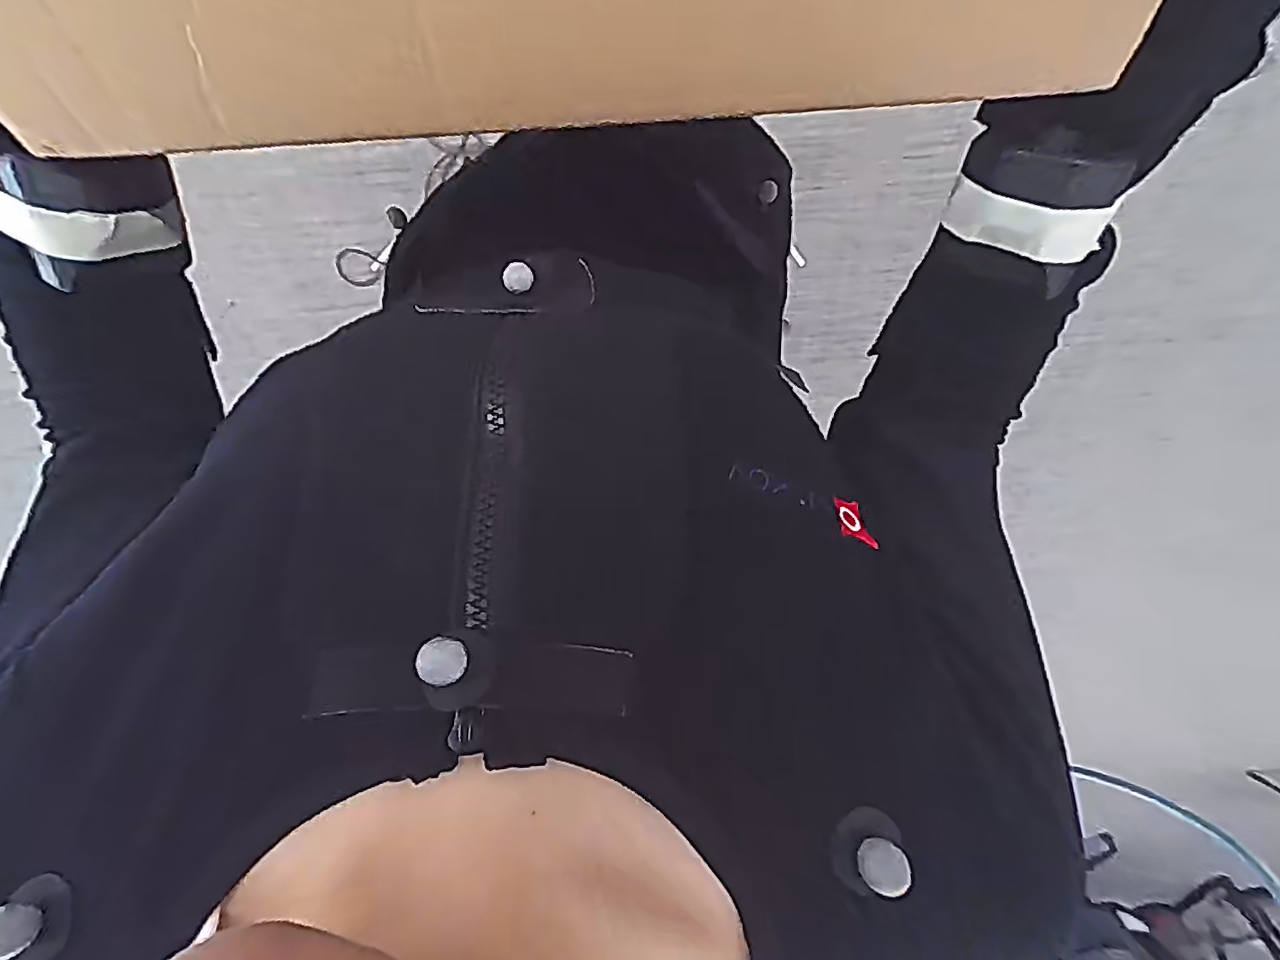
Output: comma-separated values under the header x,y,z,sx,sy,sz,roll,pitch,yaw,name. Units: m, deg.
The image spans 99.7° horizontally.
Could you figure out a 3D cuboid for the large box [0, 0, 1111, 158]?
x,y,z,sx,sy,sz,roll,pitch,yaw,name
-0.043,-0.353,0.187,0.408,0.320,0.320,-2,140,3,large box
